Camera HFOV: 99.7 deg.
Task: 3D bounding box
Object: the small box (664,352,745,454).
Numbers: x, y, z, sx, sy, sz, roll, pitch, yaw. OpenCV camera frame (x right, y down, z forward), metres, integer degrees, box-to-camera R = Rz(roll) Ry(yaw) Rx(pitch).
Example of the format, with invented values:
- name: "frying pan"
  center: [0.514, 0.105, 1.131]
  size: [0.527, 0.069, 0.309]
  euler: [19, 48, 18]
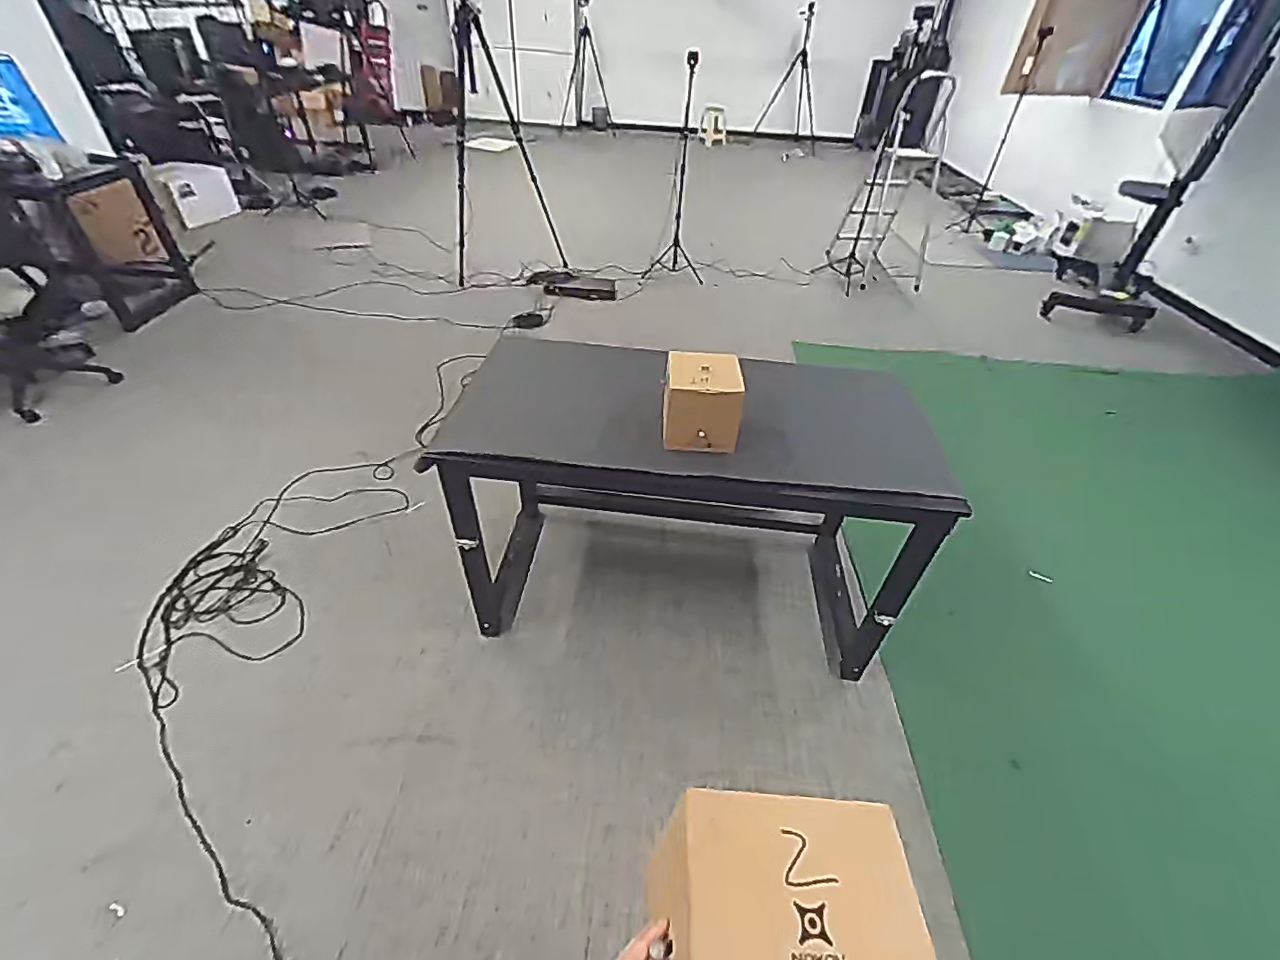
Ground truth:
- name: "small box"
  center: [0.144, -0.183, 1.277]
  size: [0.168, 0.176, 0.179]
  euler: [3, 40, 0]
